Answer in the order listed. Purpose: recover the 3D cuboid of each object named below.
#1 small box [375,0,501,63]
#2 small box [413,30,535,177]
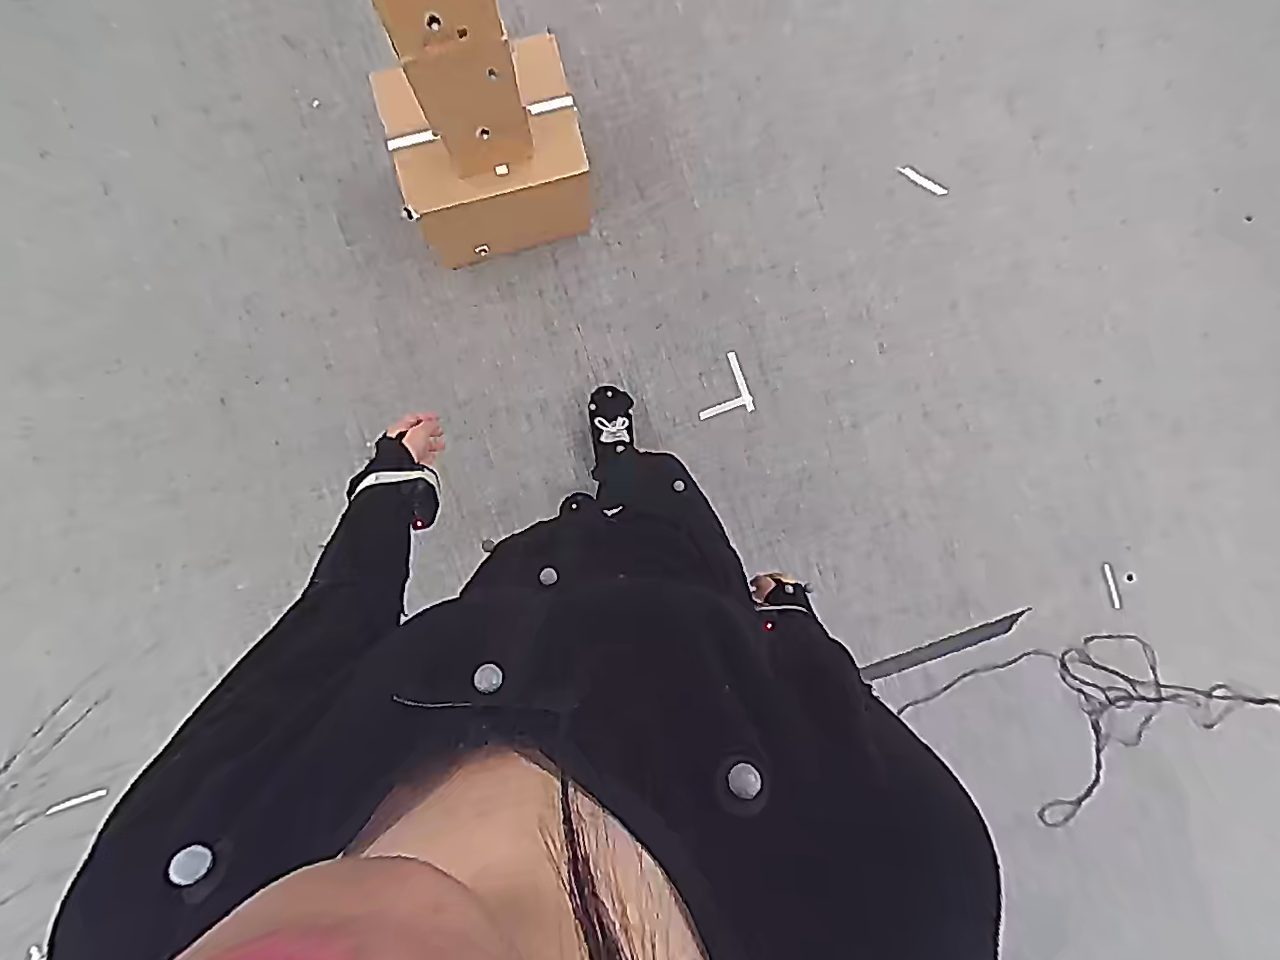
[{"bbox_3d":[-0.309,-0.747,0.759,0.168,0.176,0.179,-18,93,-4],"label":"small box"},{"bbox_3d":[-0.325,-0.745,1.085,0.179,0.176,0.168,-19,93,-5],"label":"small box"}]
